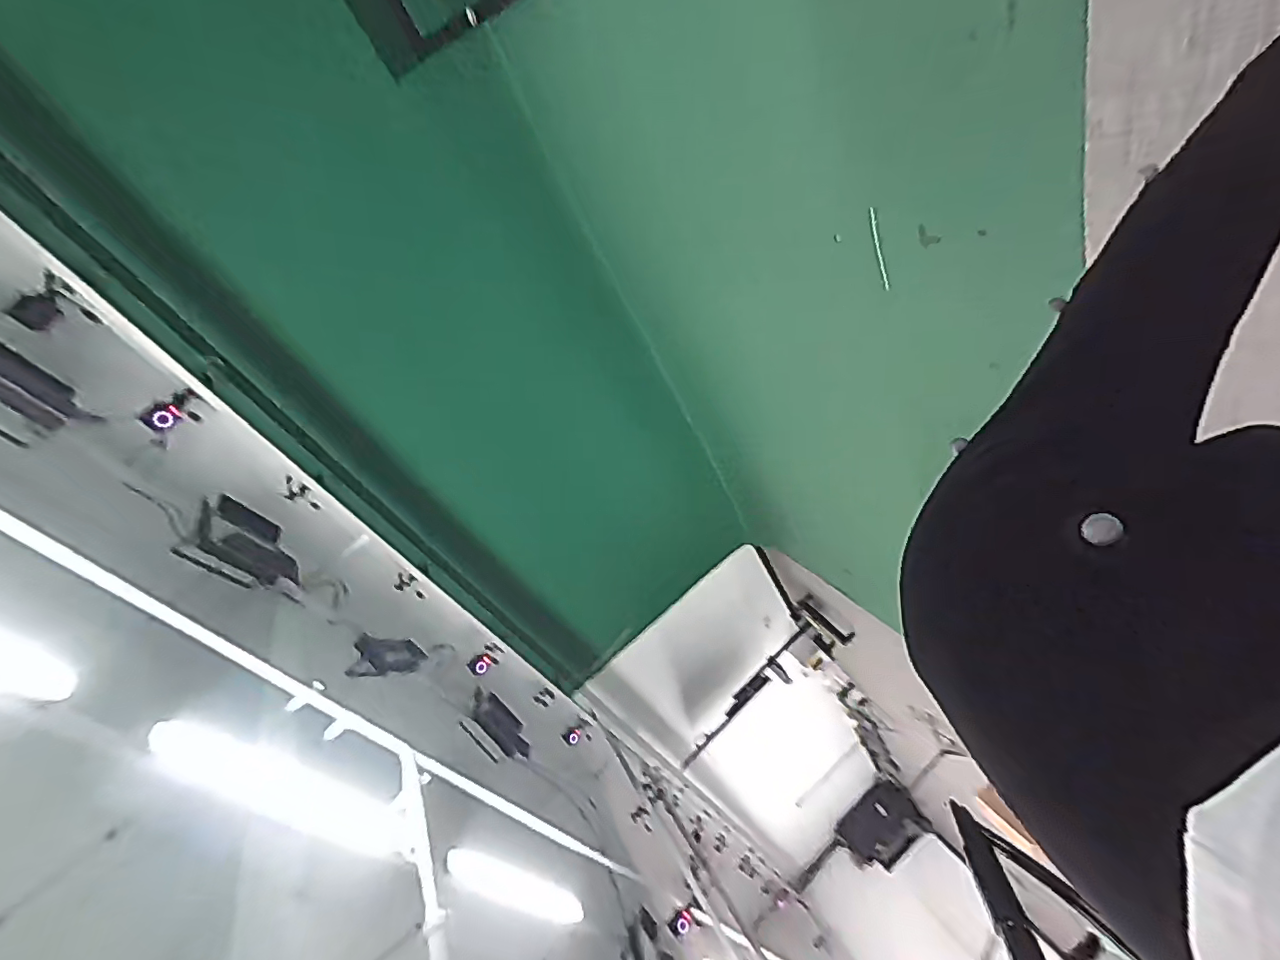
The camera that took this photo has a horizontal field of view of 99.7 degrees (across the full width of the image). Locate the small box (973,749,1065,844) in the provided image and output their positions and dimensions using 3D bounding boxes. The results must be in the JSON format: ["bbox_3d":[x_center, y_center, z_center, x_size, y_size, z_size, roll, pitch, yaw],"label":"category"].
[{"bbox_3d":[1.174,0.979,1.680,0.179,0.176,0.168,38,165,46],"label":"small box"}]
